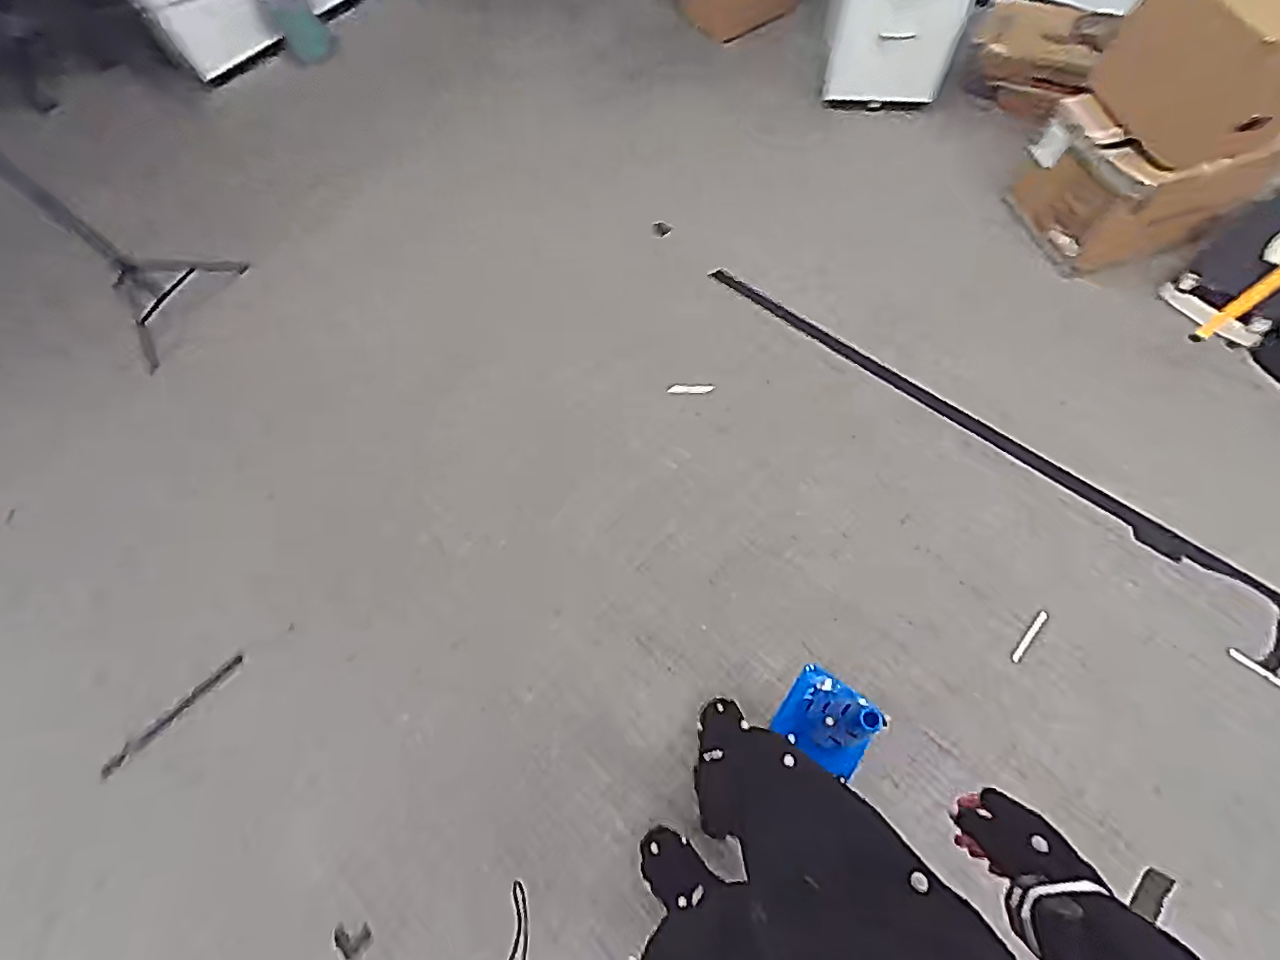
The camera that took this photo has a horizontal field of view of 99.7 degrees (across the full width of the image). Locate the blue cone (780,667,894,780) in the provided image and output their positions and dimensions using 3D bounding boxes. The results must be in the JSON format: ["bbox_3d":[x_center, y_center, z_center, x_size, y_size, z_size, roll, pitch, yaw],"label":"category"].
[{"bbox_3d":[0.423,0.488,1.097,0.192,0.380,0.193,33,73,18],"label":"blue cone"}]
